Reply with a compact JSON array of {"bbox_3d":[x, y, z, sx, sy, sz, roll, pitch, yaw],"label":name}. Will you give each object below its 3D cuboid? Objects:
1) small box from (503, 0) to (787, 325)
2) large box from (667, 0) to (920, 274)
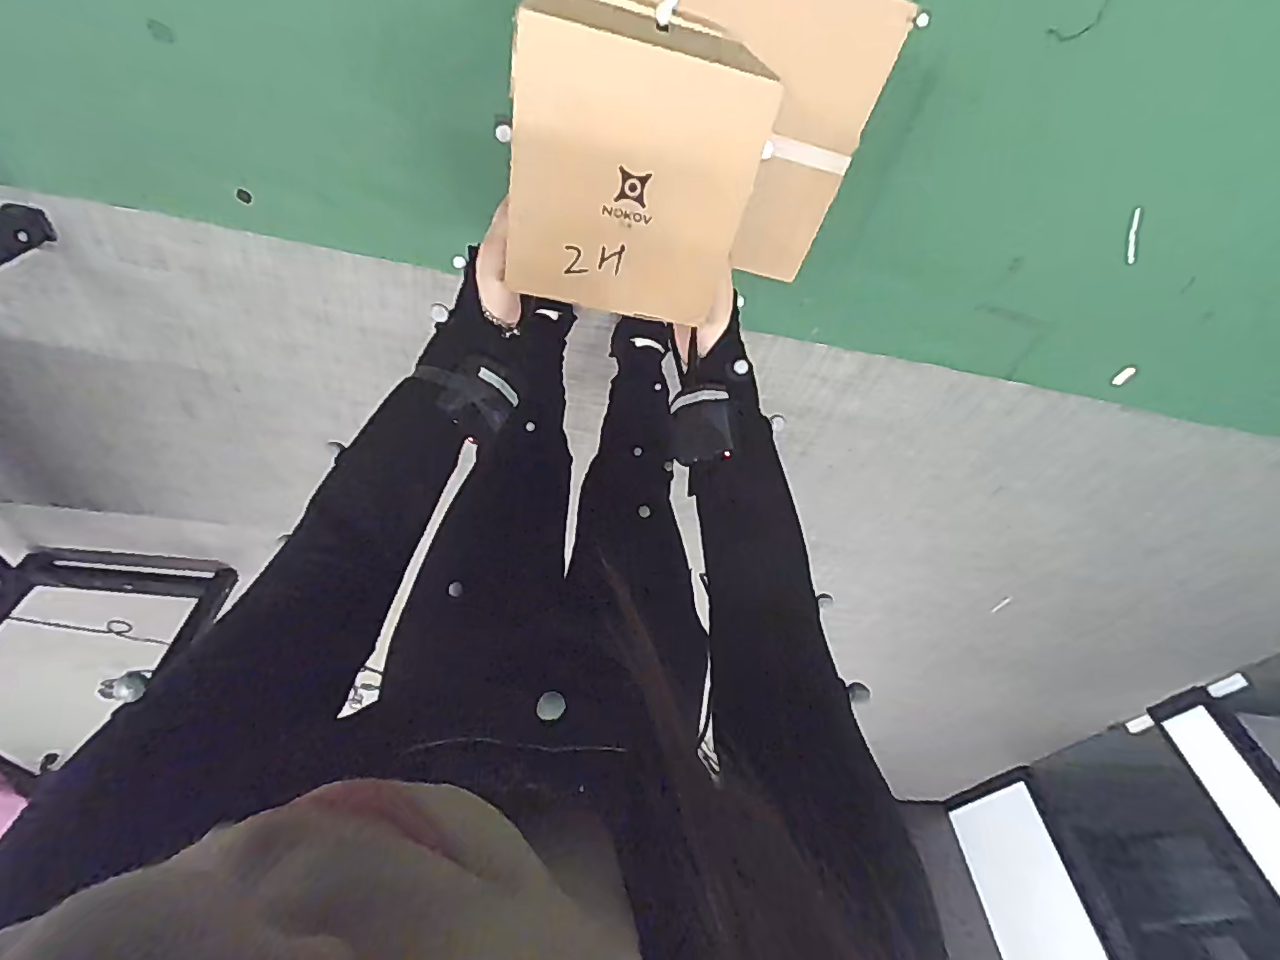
[{"bbox_3d":[-0.010,-0.253,0.425,0.168,0.176,0.179,8,135,-9],"label":"small box"},{"bbox_3d":[0.059,-0.527,0.729,0.408,0.320,0.320,9,135,-11],"label":"large box"}]
